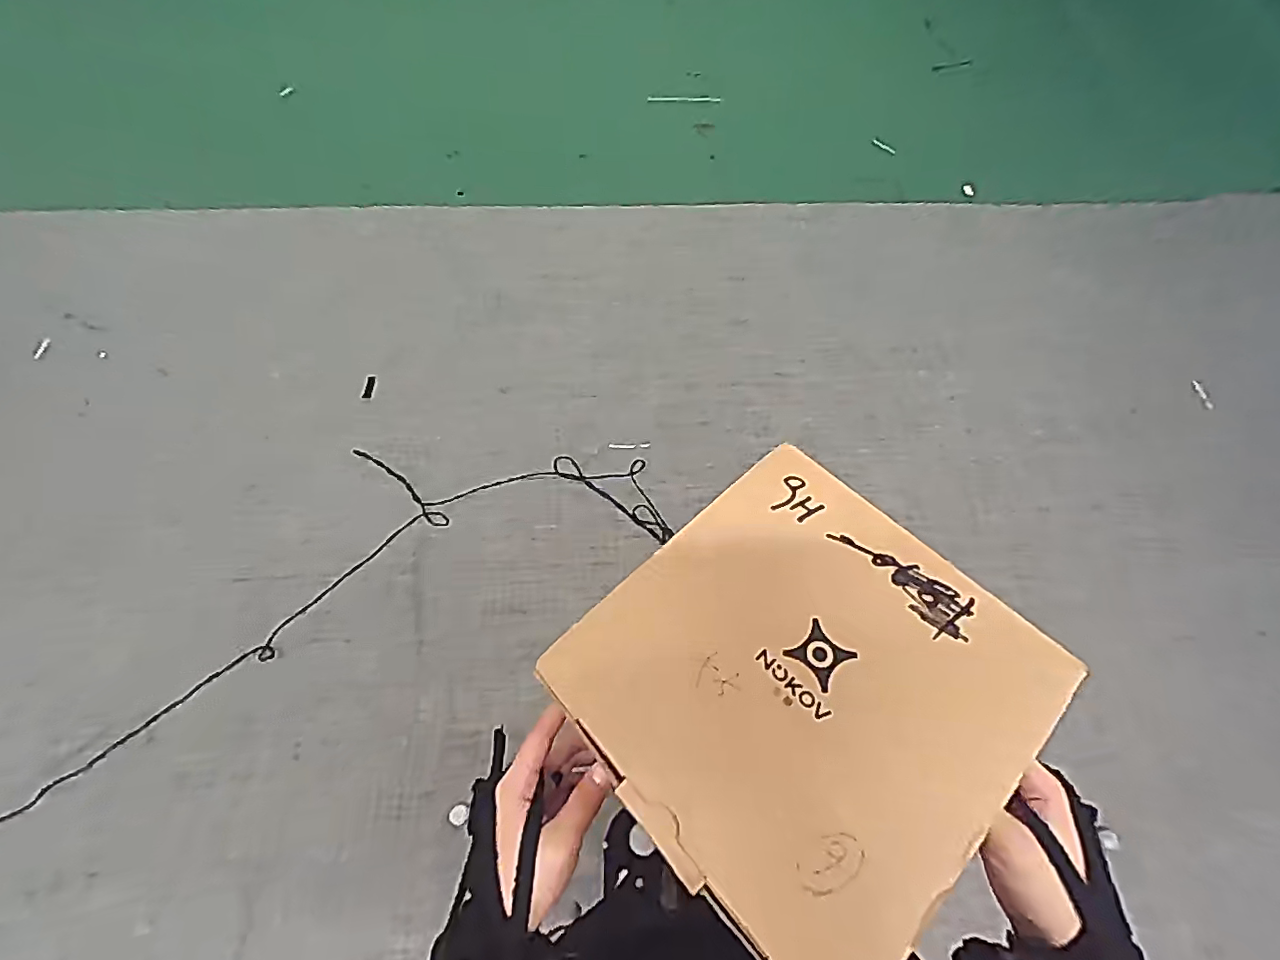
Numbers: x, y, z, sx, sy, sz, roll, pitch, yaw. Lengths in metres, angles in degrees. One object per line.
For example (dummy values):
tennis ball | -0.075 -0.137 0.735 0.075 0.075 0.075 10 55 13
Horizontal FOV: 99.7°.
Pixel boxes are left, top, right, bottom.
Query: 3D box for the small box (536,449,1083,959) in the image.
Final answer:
small box | 0.074 0.124 0.300 0.179 0.176 0.168 -39 64 -18
